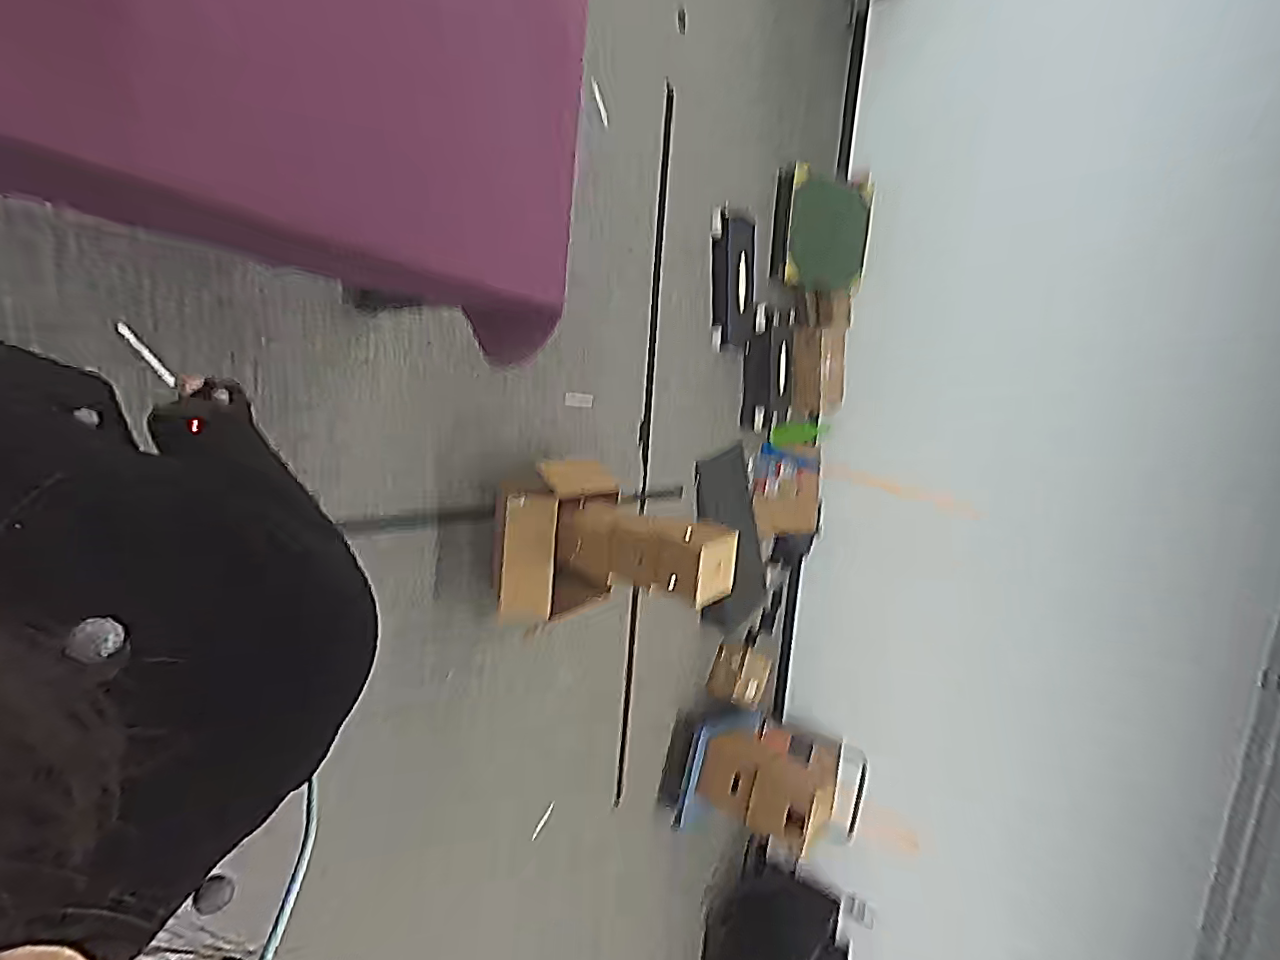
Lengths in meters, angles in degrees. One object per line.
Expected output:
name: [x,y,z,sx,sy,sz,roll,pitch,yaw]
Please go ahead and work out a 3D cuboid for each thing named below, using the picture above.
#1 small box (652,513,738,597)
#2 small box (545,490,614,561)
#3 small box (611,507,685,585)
small box: [0.150,0.201,1.505,0.179,0.176,0.168,-14,113,-47]
small box: [-0.204,0.146,1.846,0.168,0.176,0.179,-32,125,-40]
small box: [0.028,0.185,1.614,0.168,0.176,0.179,-14,113,-45]
